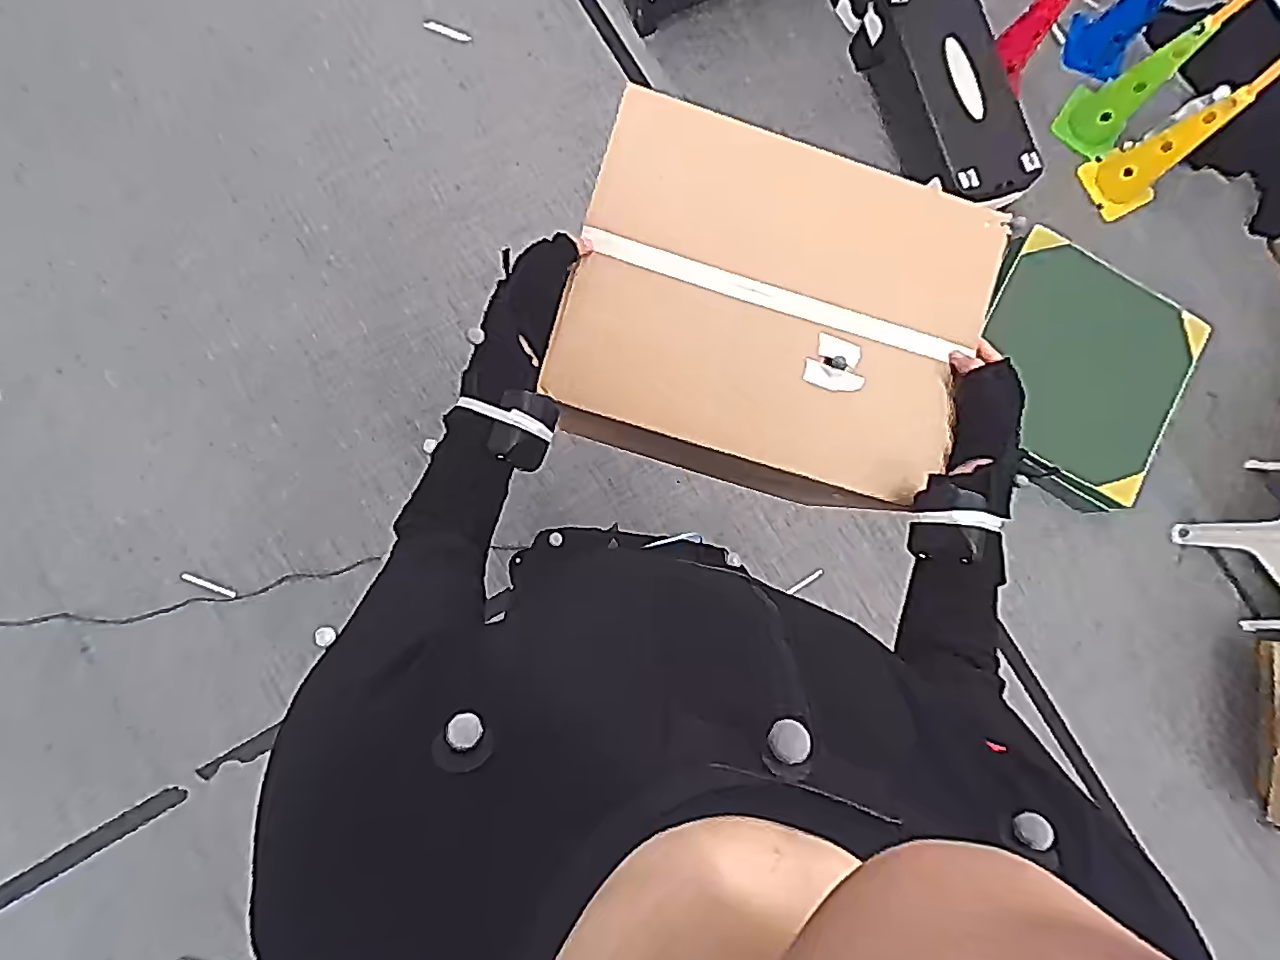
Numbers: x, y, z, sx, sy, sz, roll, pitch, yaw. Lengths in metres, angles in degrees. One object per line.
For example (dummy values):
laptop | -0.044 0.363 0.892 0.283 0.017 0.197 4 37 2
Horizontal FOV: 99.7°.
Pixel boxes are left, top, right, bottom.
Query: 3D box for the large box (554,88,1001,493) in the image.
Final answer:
large box | 0.130 -0.183 0.685 0.408 0.320 0.320 17 89 -5
